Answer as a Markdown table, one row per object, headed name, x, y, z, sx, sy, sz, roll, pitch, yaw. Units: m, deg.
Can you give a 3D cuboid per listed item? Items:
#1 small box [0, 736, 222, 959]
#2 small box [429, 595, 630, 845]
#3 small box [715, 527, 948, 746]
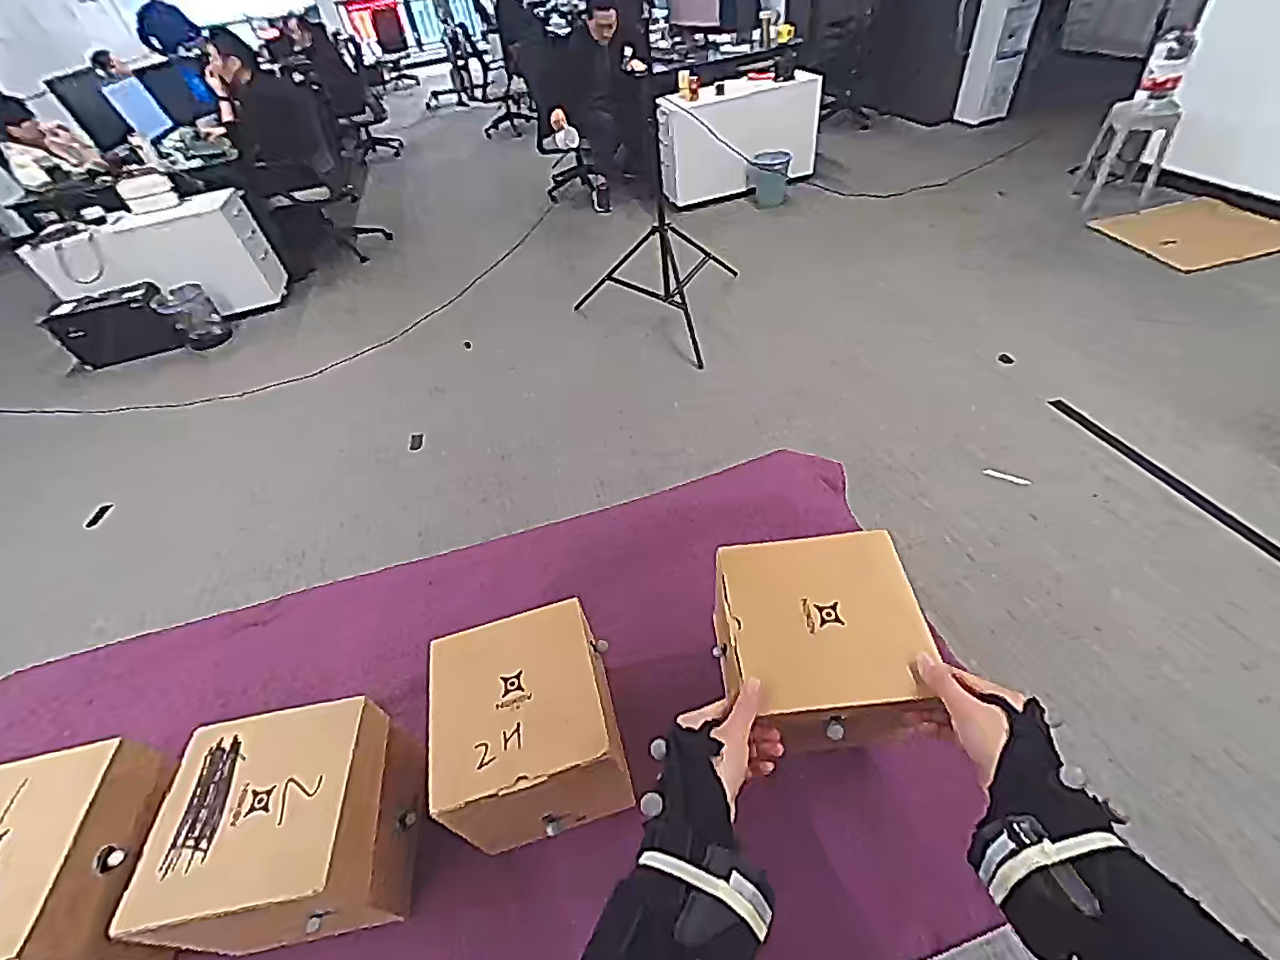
| name | x | y | z | sx | sy | sz | roll | pitch | yaw |
| --- | --- | --- | --- | --- | --- | --- | --- | --- | --- |
| small box | -0.574 | 0.390 | 0.542 | 0.168 | 0.176 | 0.179 | -12 | 45 | -3 |
| small box | -0.116 | 0.262 | 0.593 | 0.168 | 0.176 | 0.179 | -16 | 46 | -6 |
| small box | 0.176 | 0.169 | 0.566 | 0.179 | 0.176 | 0.168 | -7 | 52 | 3 |
